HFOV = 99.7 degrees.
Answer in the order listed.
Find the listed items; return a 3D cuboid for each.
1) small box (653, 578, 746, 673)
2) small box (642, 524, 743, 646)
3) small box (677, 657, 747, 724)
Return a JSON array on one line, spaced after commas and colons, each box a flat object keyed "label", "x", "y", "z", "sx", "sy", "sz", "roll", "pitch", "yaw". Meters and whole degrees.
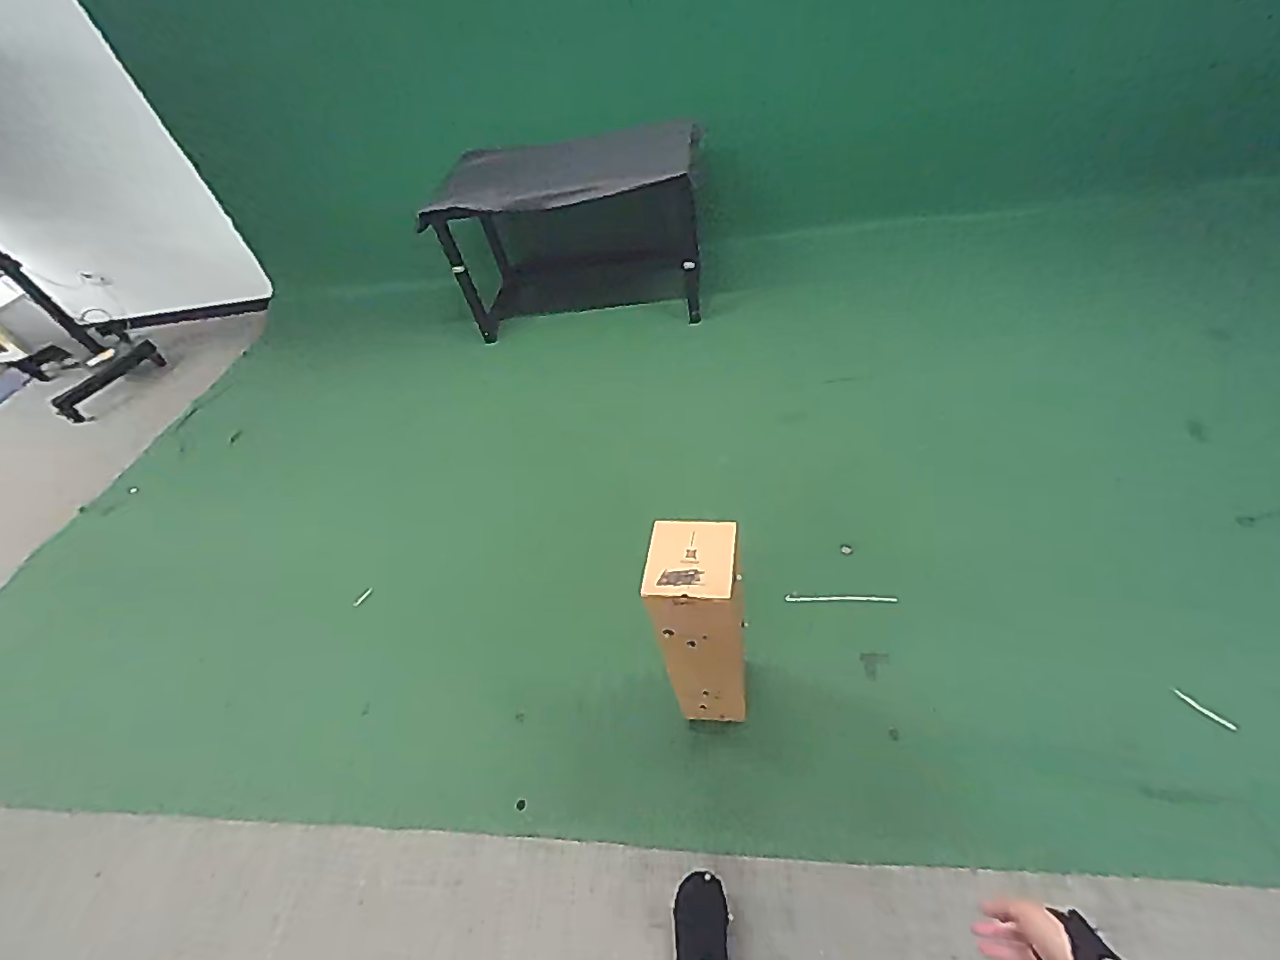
[{"label": "small box", "x": 0.138, "y": 0.310, "z": 1.190, "sx": 0.179, "sy": 0.176, "sz": 0.168, "roll": 0, "pitch": 48, "yaw": 14}, {"label": "small box", "x": 0.112, "y": 0.208, "z": 1.064, "sx": 0.168, "sy": 0.176, "sz": 0.179, "roll": 1, "pitch": 47, "yaw": 15}, {"label": "small box", "x": 0.195, "y": 0.529, "z": 1.429, "sx": 0.168, "sy": 0.176, "sz": 0.179, "roll": -3, "pitch": 46, "yaw": 12}]
